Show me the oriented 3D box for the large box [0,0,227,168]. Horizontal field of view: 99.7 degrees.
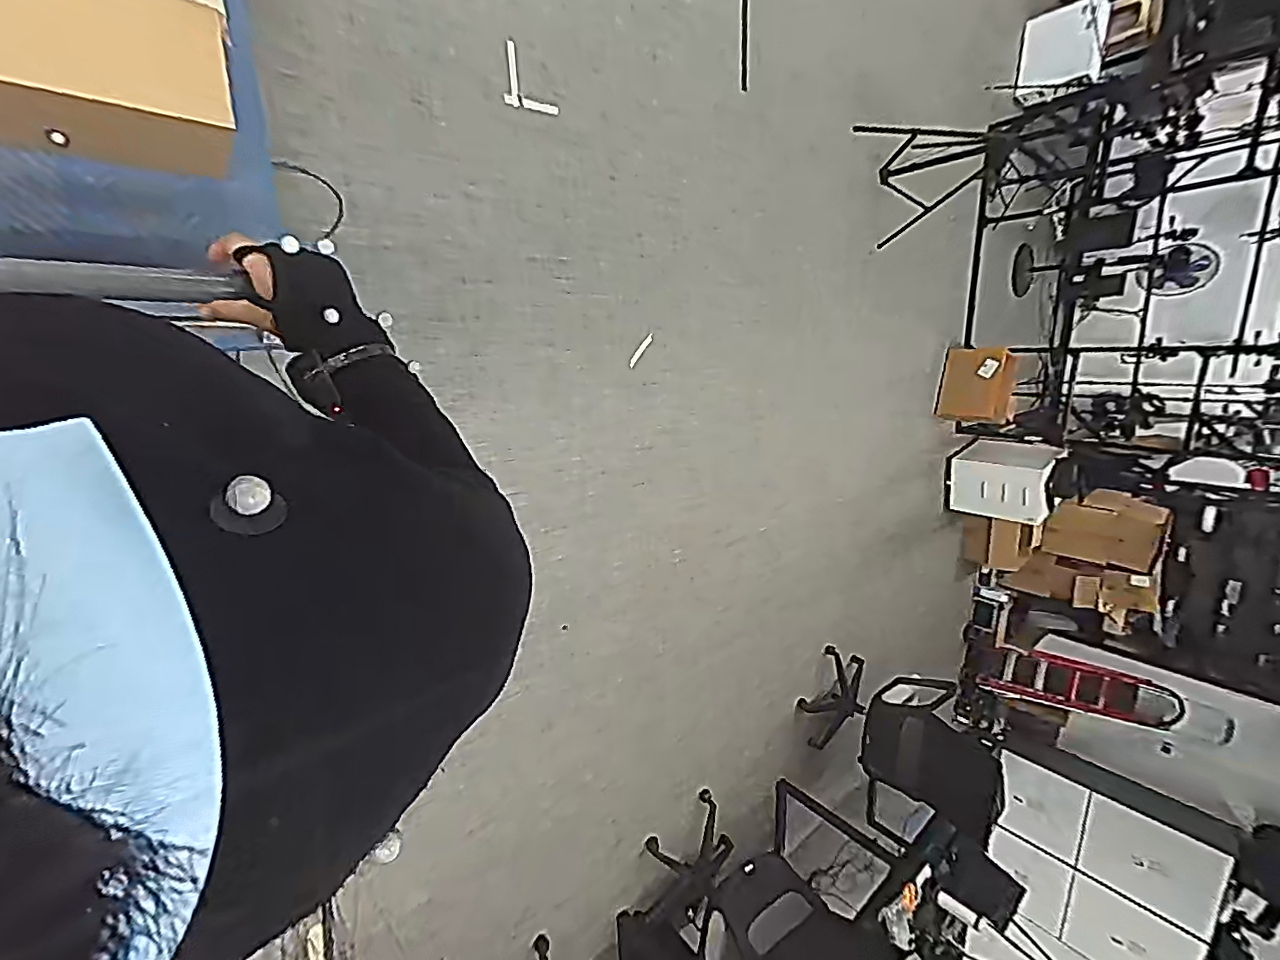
[{"bbox_3d":[-0.851,-0.667,0.744,0.408,0.320,0.320,-11,106,-38],"label":"large box"}]
